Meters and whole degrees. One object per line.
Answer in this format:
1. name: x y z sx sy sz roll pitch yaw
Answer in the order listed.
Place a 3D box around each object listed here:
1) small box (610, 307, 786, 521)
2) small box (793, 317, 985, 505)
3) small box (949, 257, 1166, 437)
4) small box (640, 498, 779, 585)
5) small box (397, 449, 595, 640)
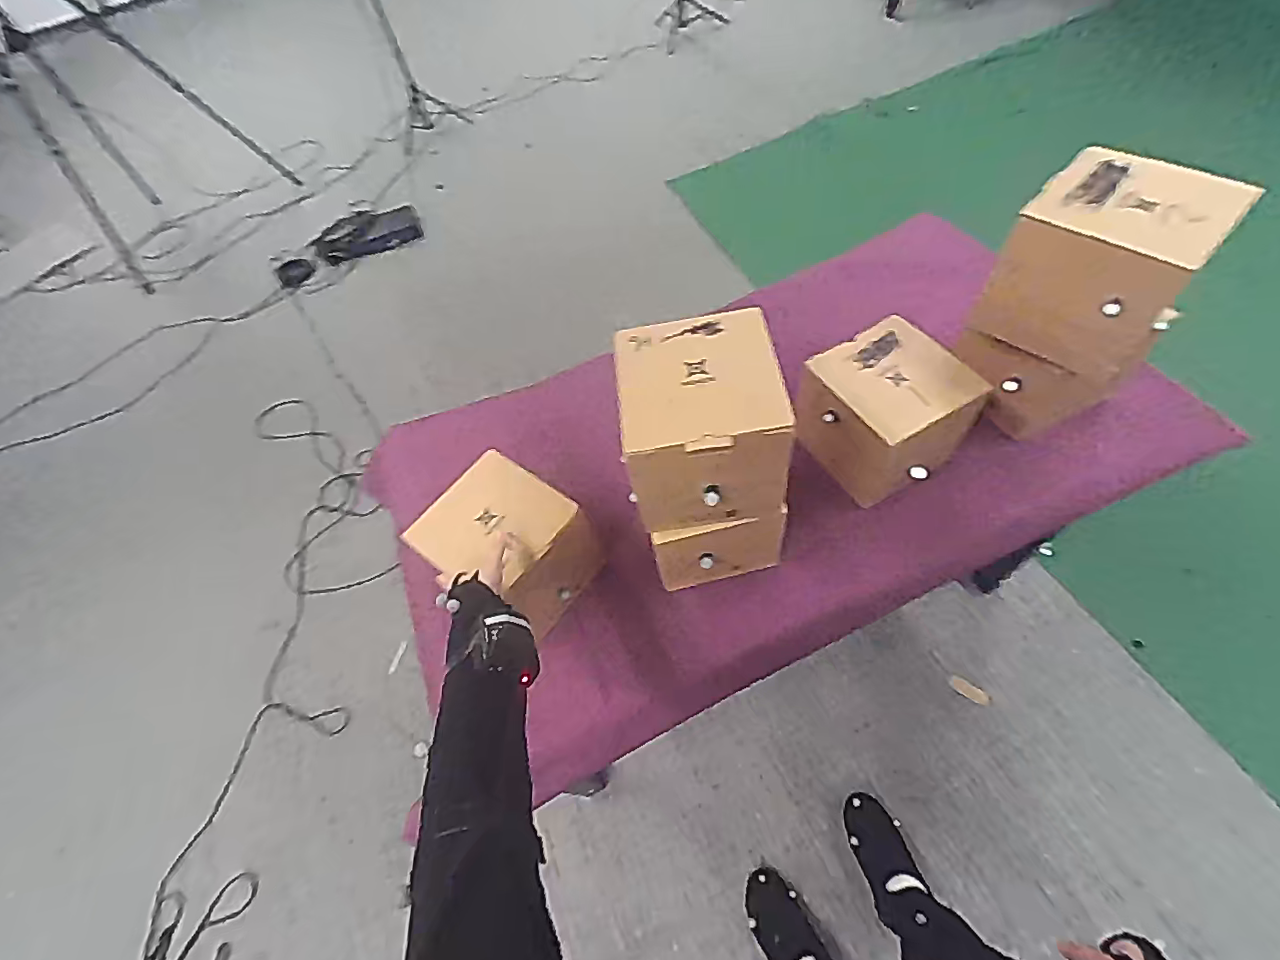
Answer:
1. small box: 0.064 -0.064 0.620 0.168 0.176 0.179 -8 57 4
2. small box: 0.343 -0.096 0.790 0.168 0.176 0.179 -28 58 -9
3. small box: 0.597 -0.192 0.811 0.179 0.176 0.168 -23 57 -6
4. small box: 0.085 0.031 0.752 0.168 0.176 0.179 -14 56 0
5. small box: -0.187 0.095 0.750 0.179 0.176 0.168 31 67 24
